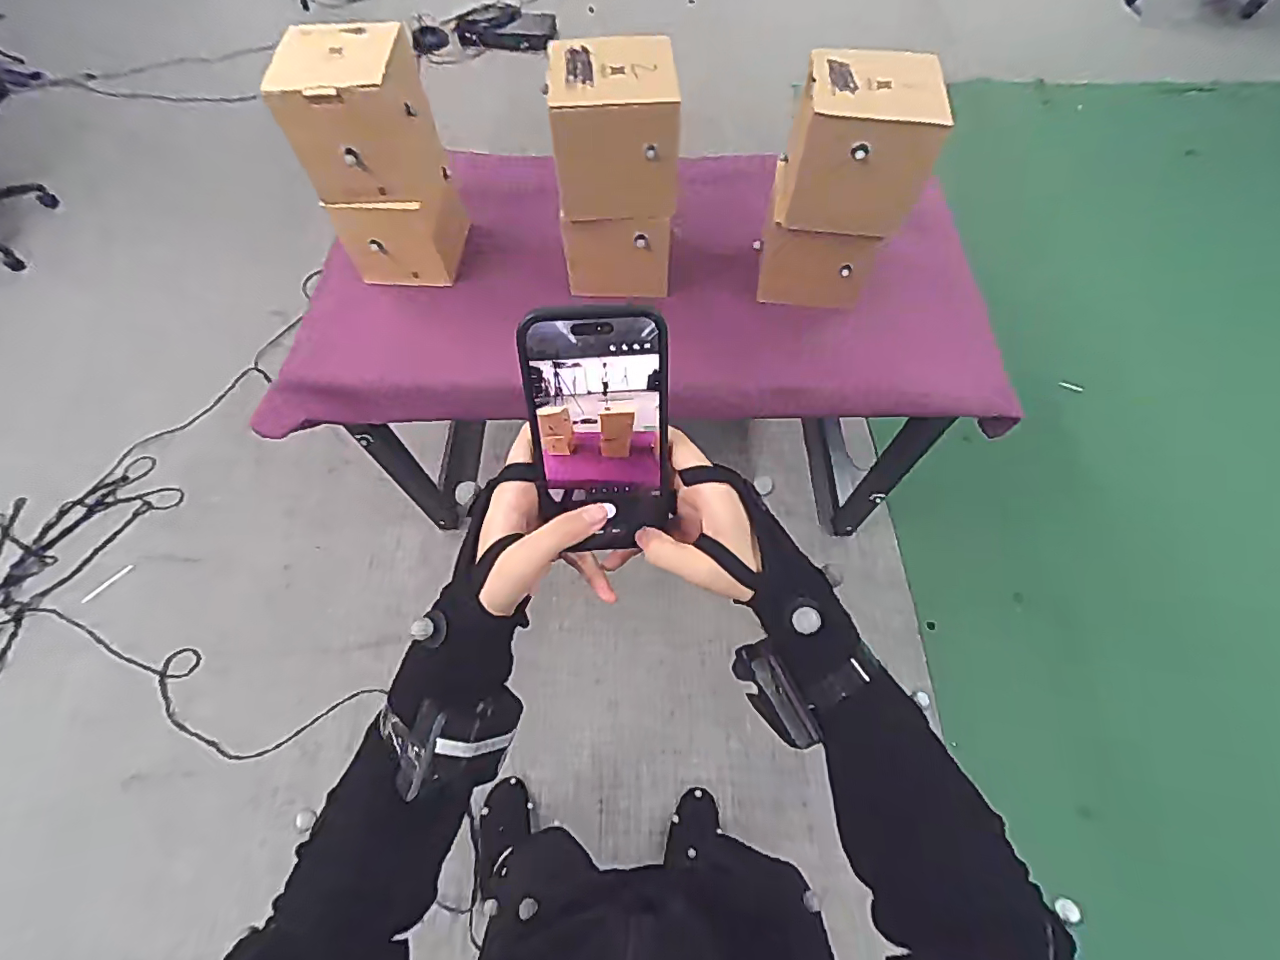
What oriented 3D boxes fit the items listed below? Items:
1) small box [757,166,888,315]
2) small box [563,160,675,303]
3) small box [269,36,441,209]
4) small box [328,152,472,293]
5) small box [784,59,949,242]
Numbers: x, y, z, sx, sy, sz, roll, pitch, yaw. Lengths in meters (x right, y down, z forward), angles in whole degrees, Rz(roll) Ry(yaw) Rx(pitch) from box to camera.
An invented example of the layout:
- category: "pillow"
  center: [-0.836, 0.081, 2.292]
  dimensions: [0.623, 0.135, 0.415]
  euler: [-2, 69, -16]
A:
- category: "small box"
  center: [0.309, -0.410, 0.939]
  dimensions: [0.179, 0.176, 0.168]
  euler: [7, 62, 6]
- category: "small box"
  center: [-0.031, -0.432, 0.956]
  dimensions: [0.179, 0.176, 0.168]
  euler: [1, 62, 2]
- category: "small box"
  center: [-0.423, -0.545, 0.839]
  dimensions: [0.168, 0.176, 0.179]
  euler: [-2, 63, -1]
- category: "small box"
  center: [-0.420, -0.461, 0.981]
  dimensions: [0.168, 0.176, 0.179]
  euler: [2, 62, 2]
- category: "small box"
  center: [0.313, -0.472, 0.787]
  dimensions: [0.179, 0.176, 0.168]
  euler: [7, 62, 4]
